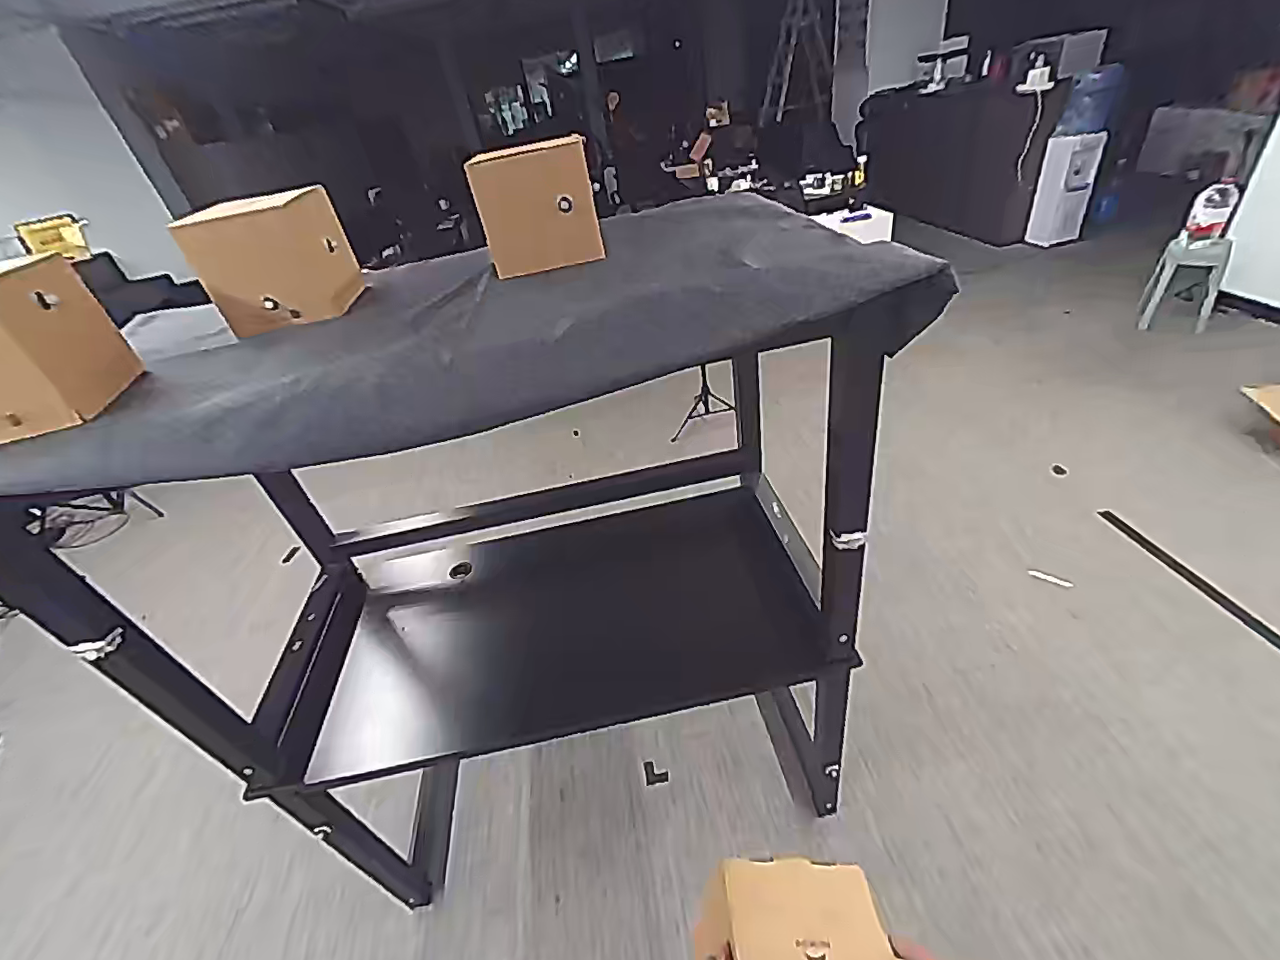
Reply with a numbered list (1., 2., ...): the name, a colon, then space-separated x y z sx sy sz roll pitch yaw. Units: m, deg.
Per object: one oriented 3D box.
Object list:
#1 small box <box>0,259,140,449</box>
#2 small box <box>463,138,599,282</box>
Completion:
1. small box: -0.774 -0.149 0.657 0.168 0.176 0.179 -17 37 -9
2. small box: -0.166 -0.443 0.886 0.179 0.176 0.168 -11 35 0
